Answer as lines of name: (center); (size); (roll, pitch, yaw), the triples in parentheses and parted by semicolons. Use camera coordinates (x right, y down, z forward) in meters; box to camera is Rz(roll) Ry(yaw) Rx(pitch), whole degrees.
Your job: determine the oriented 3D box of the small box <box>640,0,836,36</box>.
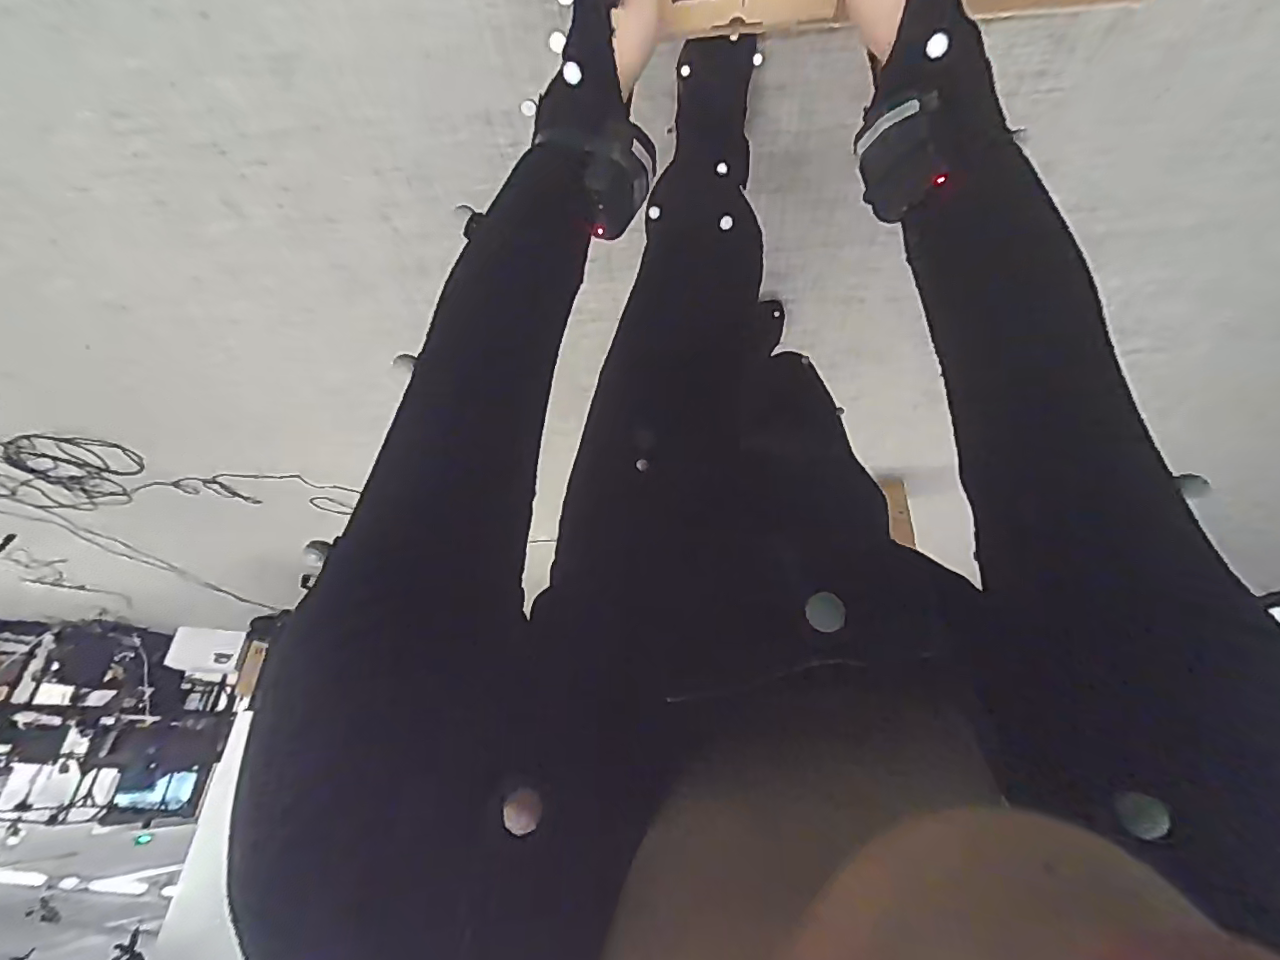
small box: (0.079, -0.499, 0.426); (0.168, 0.176, 0.179); (-1, 153, 5)
